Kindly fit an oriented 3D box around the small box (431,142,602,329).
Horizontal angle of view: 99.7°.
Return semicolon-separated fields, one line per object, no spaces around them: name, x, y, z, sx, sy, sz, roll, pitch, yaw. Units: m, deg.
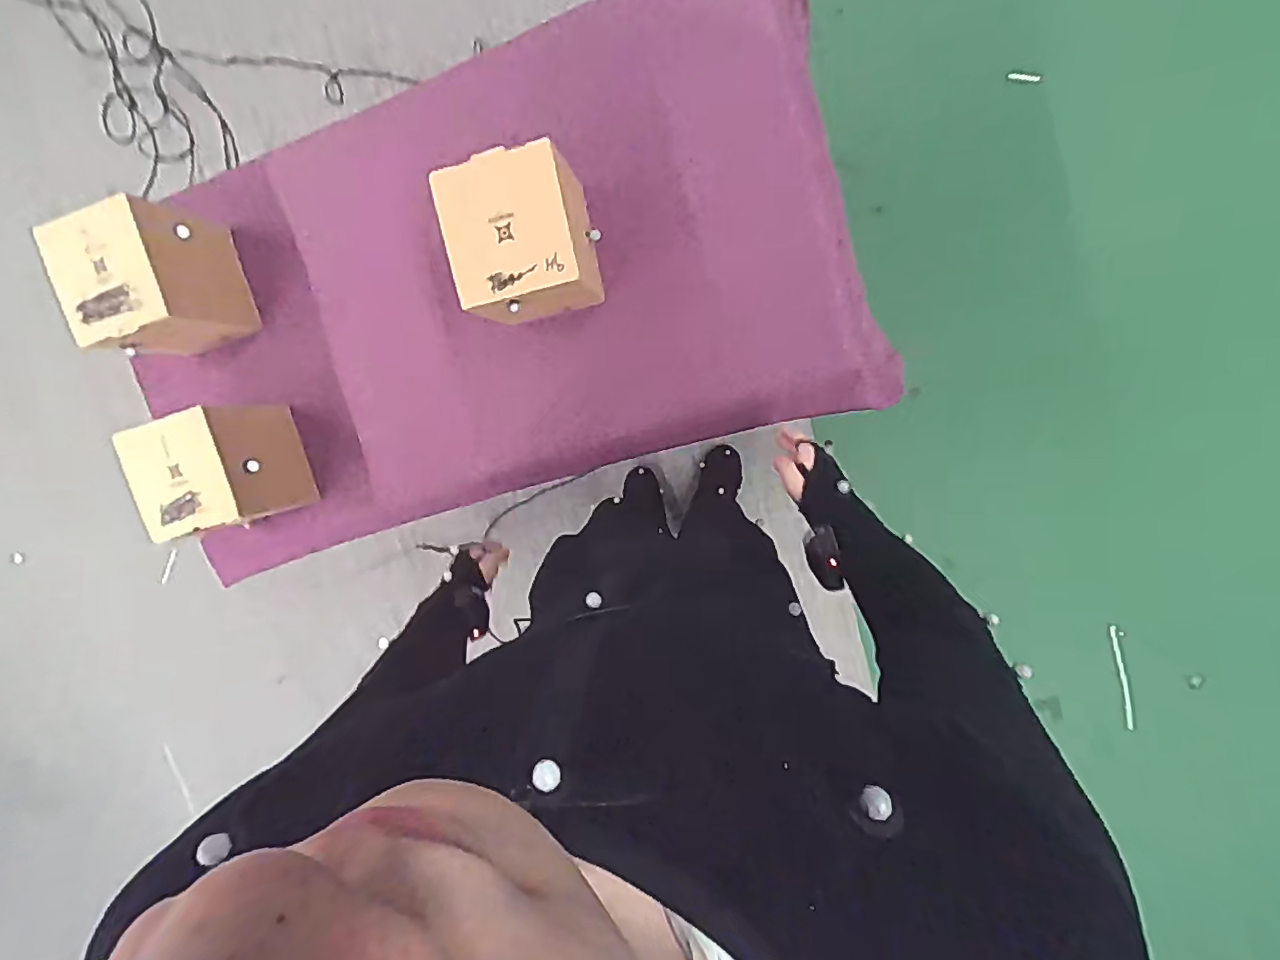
small box;-0.161;-0.328;0.762;0.168;0.176;0.179;-11;96;9

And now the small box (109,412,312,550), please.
small box;-0.676;-0.007;0.873;0.168;0.176;0.179;-16;95;9
